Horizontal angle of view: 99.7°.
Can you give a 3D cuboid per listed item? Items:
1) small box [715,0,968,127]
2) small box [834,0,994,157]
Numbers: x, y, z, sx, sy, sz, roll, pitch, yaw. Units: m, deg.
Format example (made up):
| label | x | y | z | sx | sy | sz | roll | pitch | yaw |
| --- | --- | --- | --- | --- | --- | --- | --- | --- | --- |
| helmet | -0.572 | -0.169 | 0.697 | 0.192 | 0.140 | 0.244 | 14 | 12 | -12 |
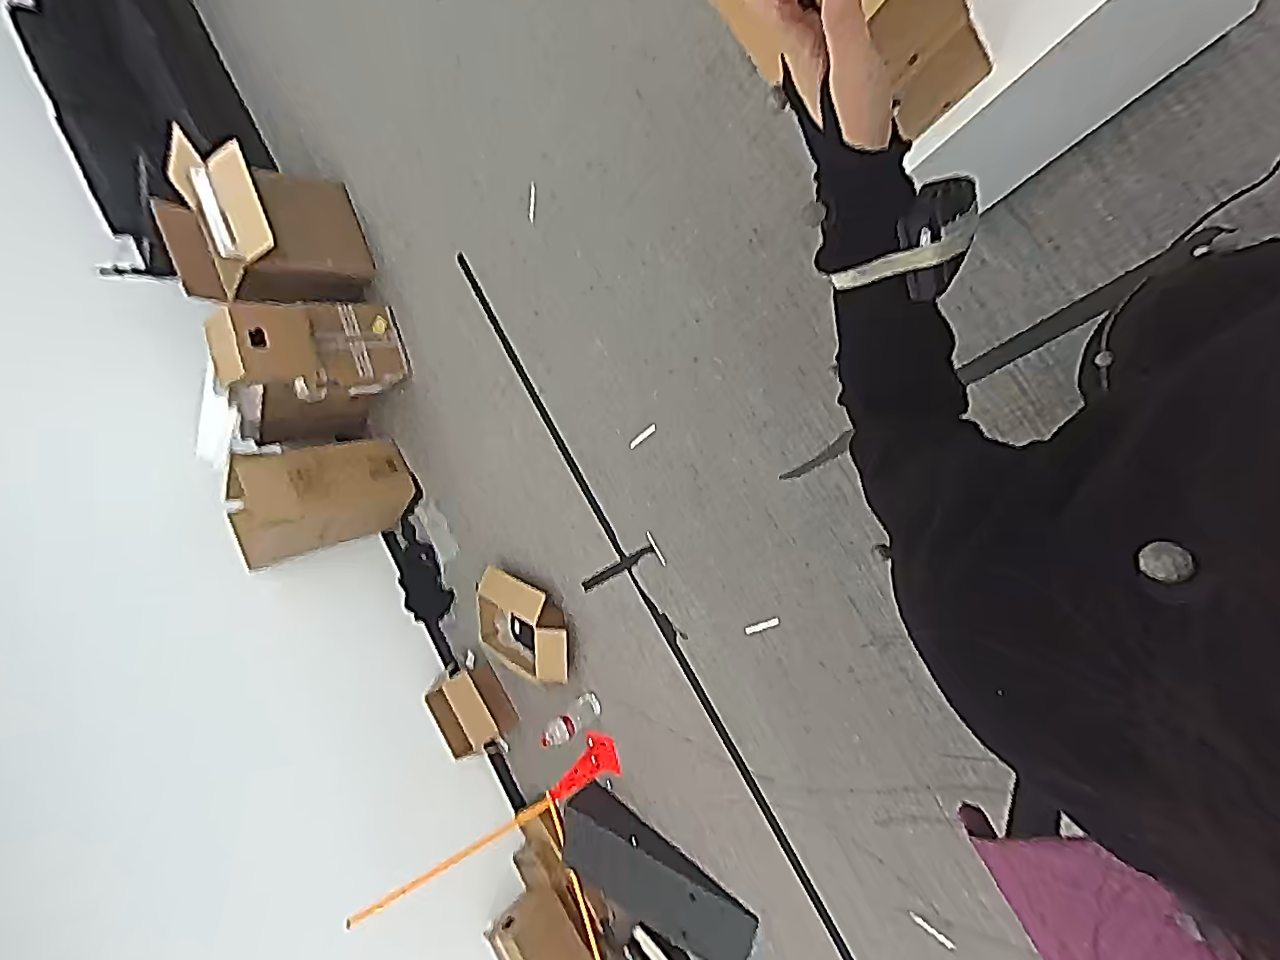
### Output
| label | x | y | z | sx | sy | sz | roll | pitch | yaw |
| --- | --- | --- | --- | --- | --- | --- | --- | --- | --- |
| small box | 0.210 | -0.512 | 0.571 | 0.168 | 0.176 | 0.179 | -37 | 79 | 42 |
| small box | 0.314 | -0.554 | 0.690 | 0.168 | 0.176 | 0.179 | -35 | 79 | 42 |
